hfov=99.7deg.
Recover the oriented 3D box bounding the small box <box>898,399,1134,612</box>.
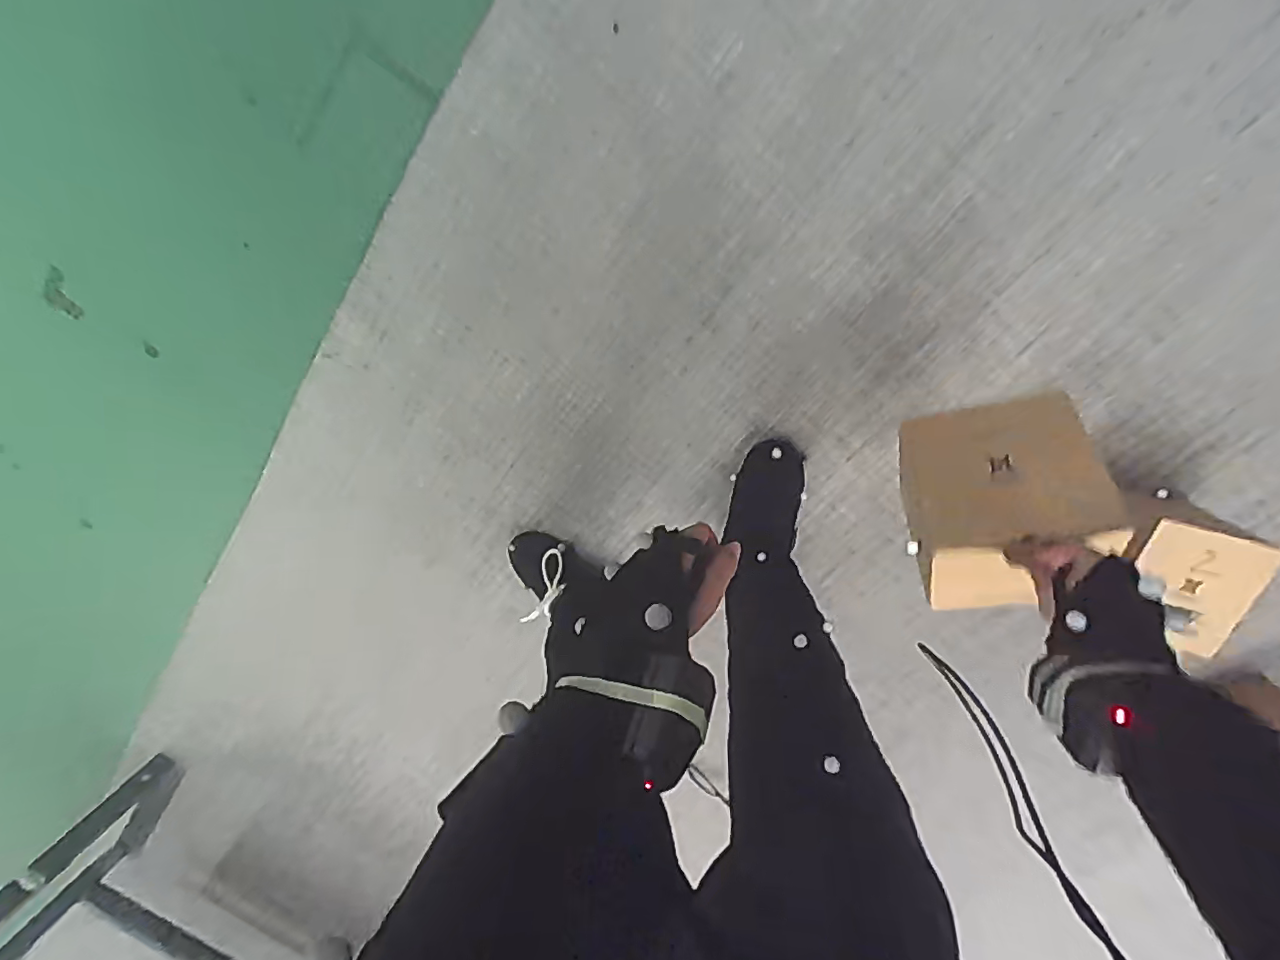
[{"bbox_3d":[0.397,0.041,0.608,0.168,0.179,0.176,-10,144,20],"label":"small box"}]
